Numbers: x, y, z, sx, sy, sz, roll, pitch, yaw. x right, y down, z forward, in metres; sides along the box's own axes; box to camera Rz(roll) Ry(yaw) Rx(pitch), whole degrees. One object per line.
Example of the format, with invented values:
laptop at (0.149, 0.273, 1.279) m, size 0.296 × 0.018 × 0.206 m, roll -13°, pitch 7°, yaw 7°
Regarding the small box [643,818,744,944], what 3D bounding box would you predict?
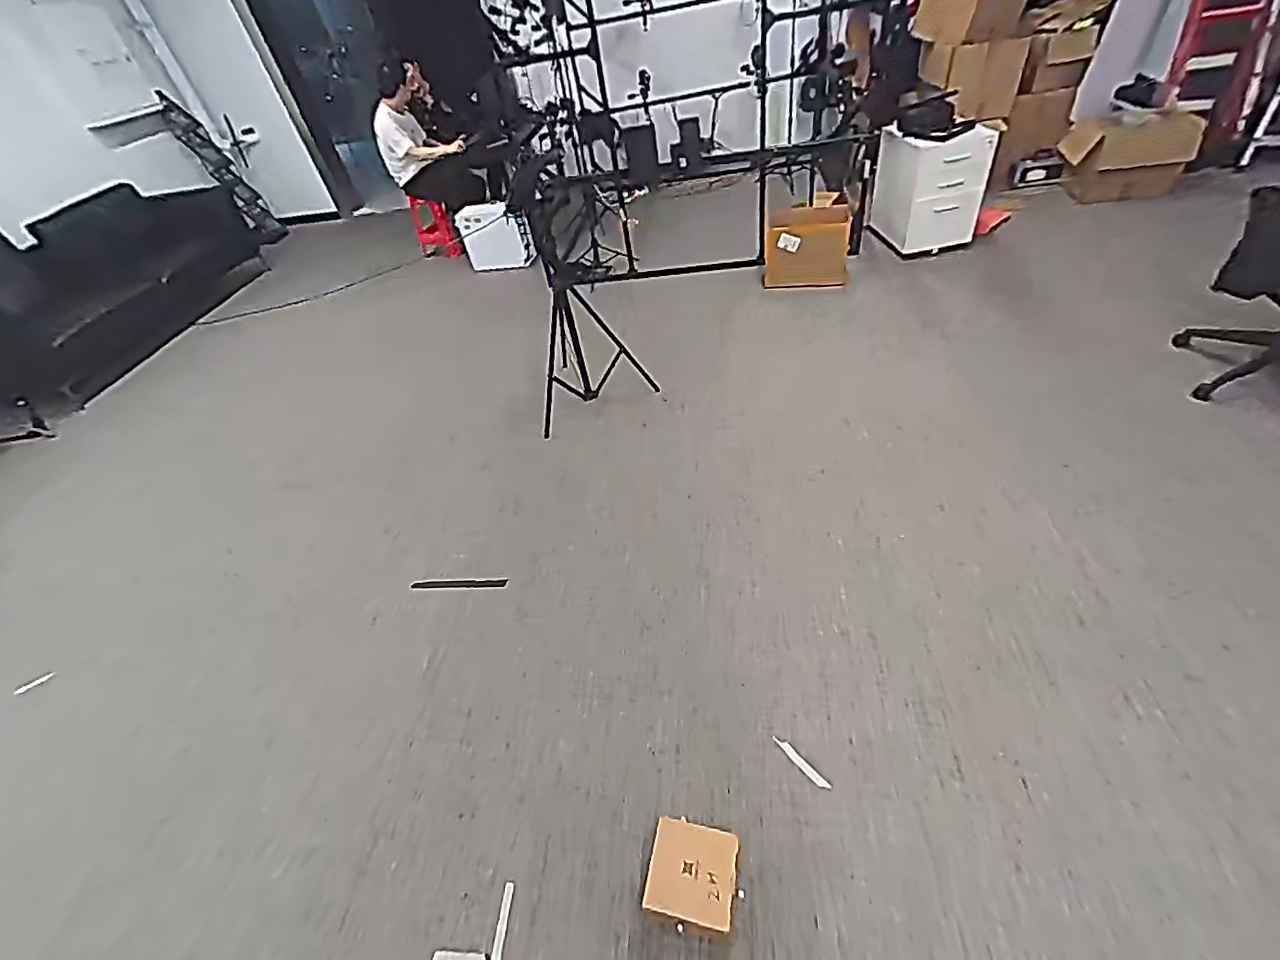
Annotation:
small box at (0.121, 0.853, 1.150) m, size 0.179 × 0.176 × 0.168 m, roll 4°, pitch 46°, yaw 17°
